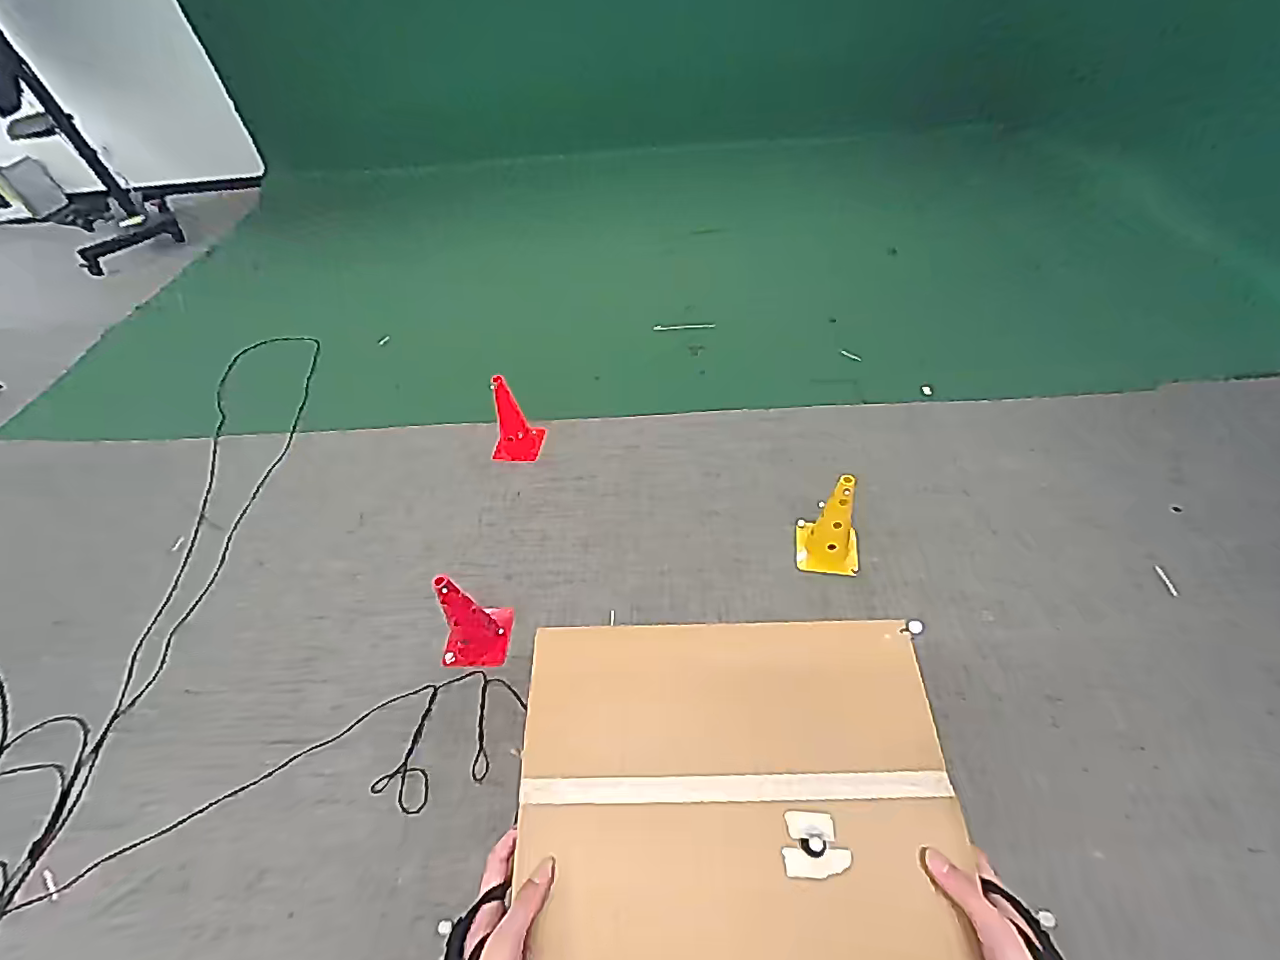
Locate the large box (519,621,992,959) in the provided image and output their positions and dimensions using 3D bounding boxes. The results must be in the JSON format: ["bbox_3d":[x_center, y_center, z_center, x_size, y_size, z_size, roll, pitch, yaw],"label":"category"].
[{"bbox_3d":[0.094,0.374,0.646,0.408,0.320,0.320,-2,59,1],"label":"large box"}]

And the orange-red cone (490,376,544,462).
[{"bbox_3d":[-0.538,-0.264,2.173,0.199,0.360,0.198,2,49,10],"label":"orange-red cone"}]
